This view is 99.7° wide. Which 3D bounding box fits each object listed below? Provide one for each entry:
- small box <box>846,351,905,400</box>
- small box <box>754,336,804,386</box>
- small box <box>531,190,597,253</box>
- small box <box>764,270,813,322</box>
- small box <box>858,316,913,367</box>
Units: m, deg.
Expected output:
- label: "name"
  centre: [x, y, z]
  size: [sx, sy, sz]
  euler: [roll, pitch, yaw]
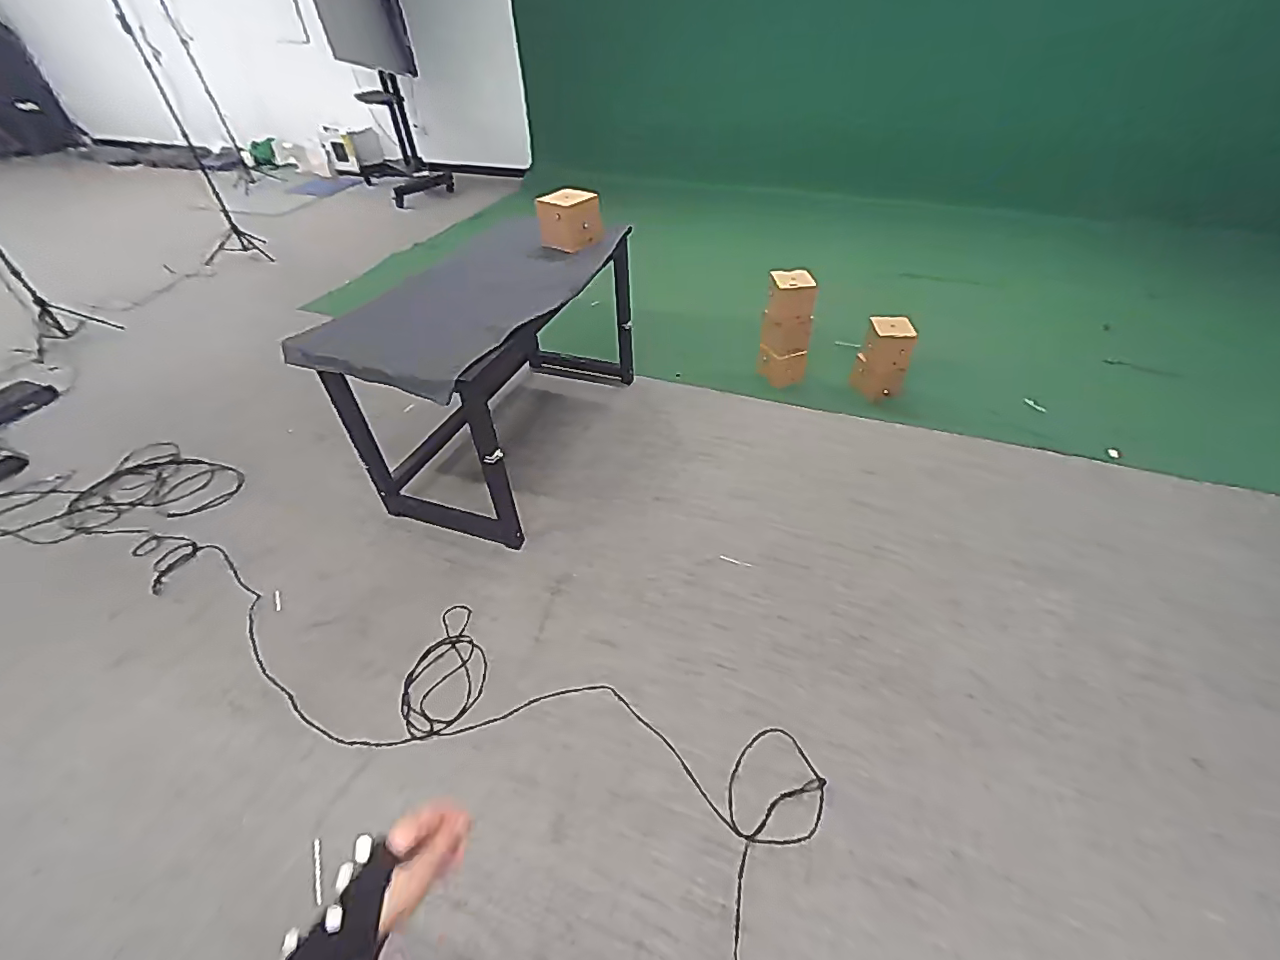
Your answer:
- label: "small box"
  centre: [1.103, -0.501, 2.549]
  size: [0.168, 0.176, 0.179]
  euler: [-13, 45, -11]
- label: "small box"
  centre: [0.678, -0.580, 2.657]
  size: [0.168, 0.176, 0.179]
  euler: [-18, 45, -16]
- label: "small box"
  centre: [-0.284, -0.983, 2.060]
  size: [0.179, 0.176, 0.168]
  euler: [28, 51, 31]
- label: "small box"
  centre: [0.665, -0.833, 2.447]
  size: [0.168, 0.176, 0.179]
  euler: [-5, 43, -2]
- label: "small box"
  centre: [1.104, -0.624, 2.442]
  size: [0.168, 0.176, 0.179]
  euler: [2, 43, 3]
